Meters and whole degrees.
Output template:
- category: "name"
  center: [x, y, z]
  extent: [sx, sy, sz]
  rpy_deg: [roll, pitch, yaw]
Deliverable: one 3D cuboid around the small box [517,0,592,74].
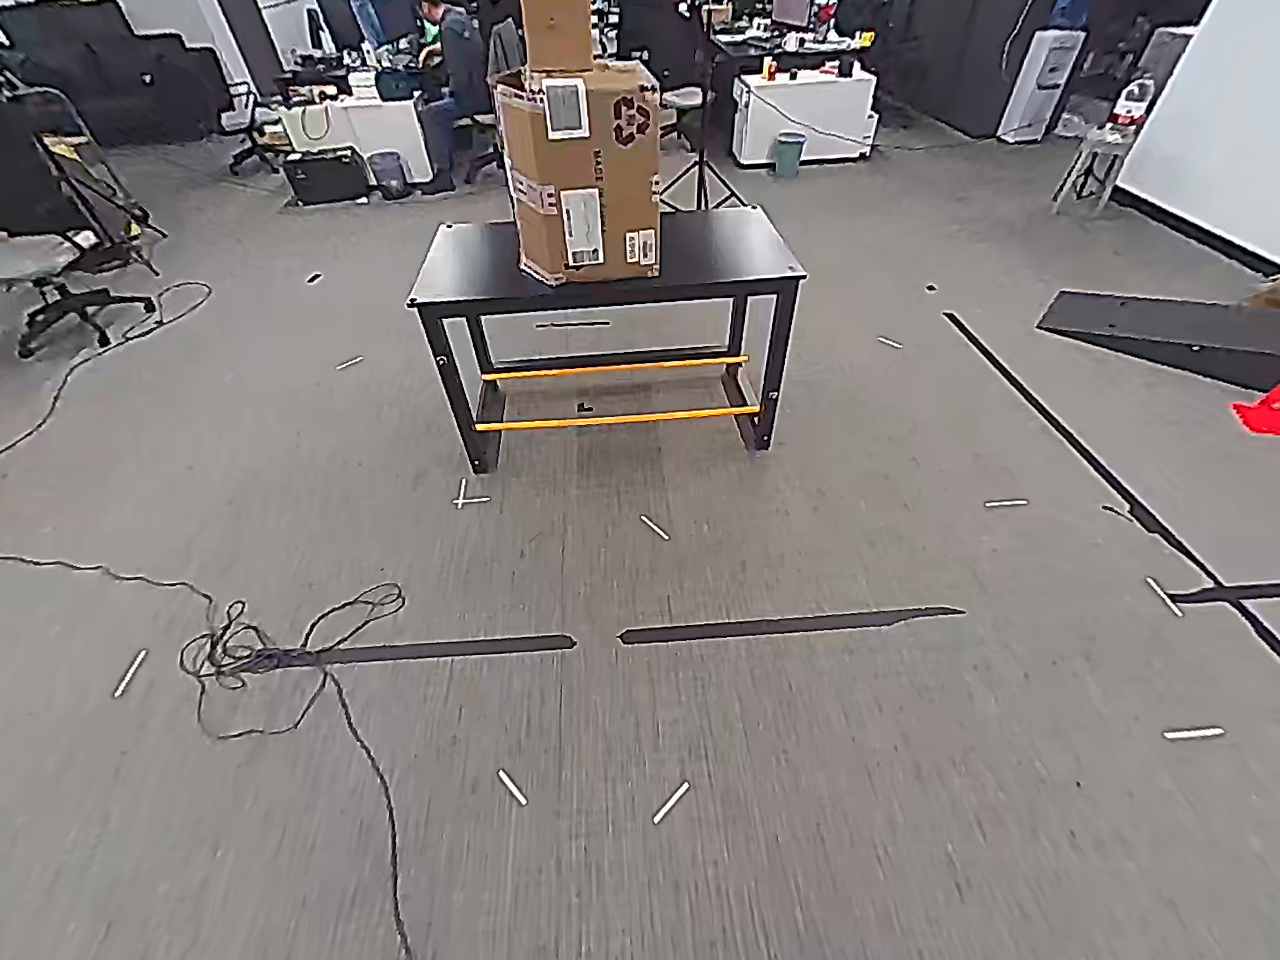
- category: "small box"
  center: [-0.228, -1.206, 1.451]
  extent: [0.179, 0.176, 0.168]
  rpy_deg: [-7, 43, -6]
